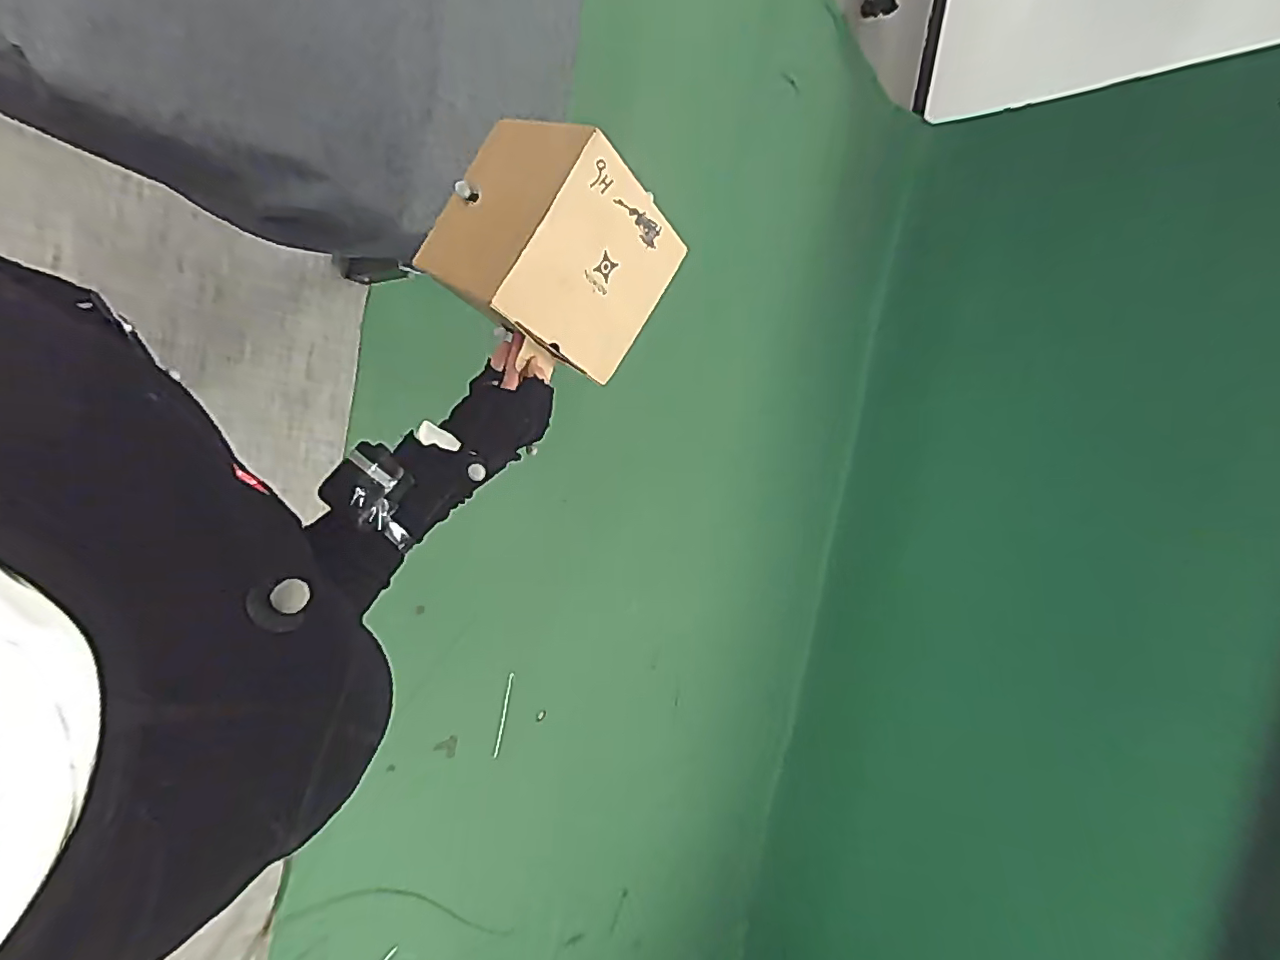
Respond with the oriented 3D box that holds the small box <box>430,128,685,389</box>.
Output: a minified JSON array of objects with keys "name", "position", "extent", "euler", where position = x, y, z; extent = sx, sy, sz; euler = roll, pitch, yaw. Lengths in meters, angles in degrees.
[{"name":"small box","position":[-0.092,-0.231,0.569],"extent":[0.179,0.176,0.168],"euler":[-57,144,3]}]
